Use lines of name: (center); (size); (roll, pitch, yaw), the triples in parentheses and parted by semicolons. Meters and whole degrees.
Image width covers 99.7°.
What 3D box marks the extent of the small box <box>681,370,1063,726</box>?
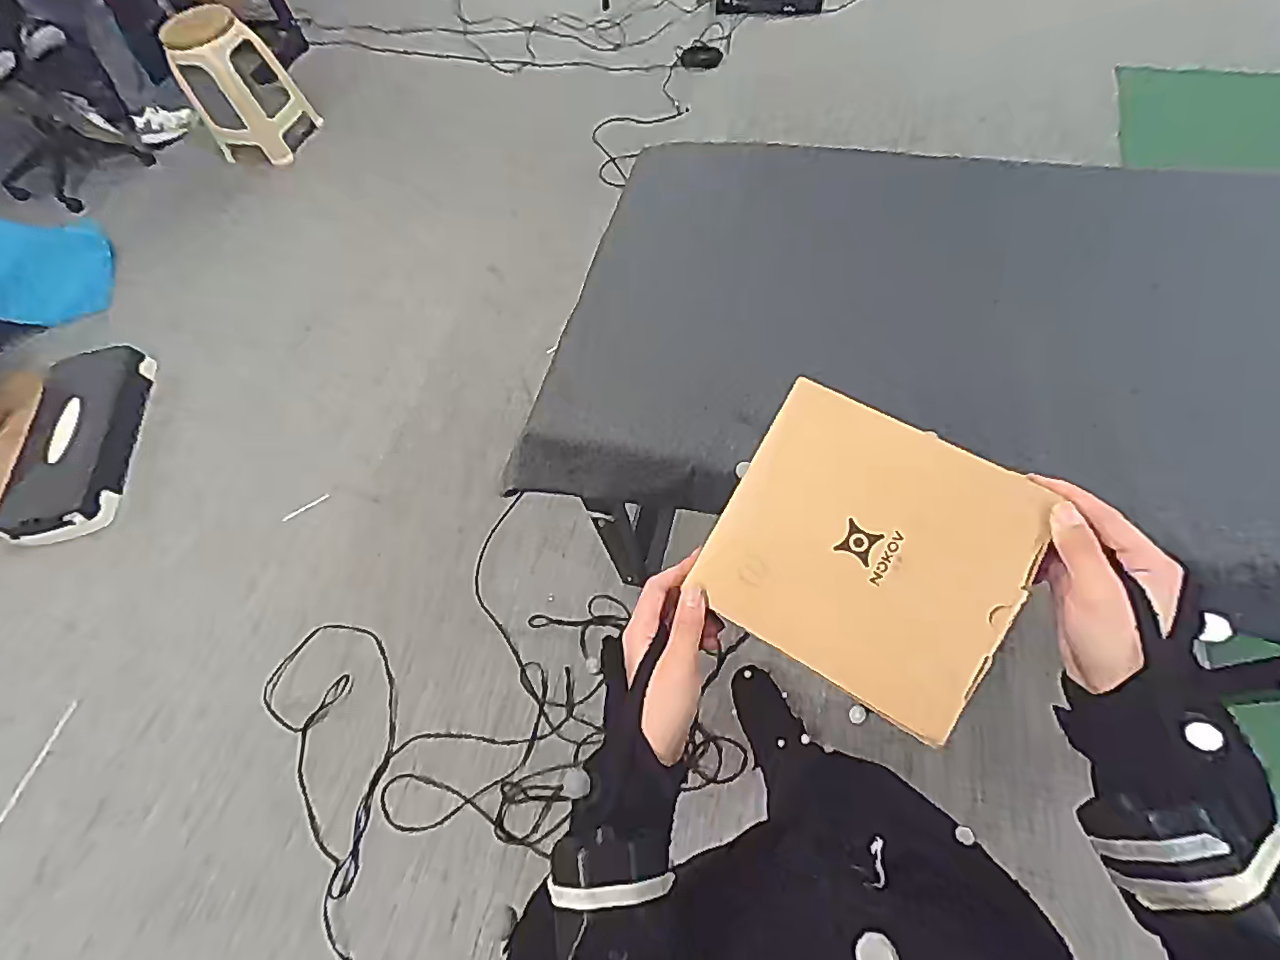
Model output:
small box: (0.152, 0.049, 0.412); (0.179, 0.176, 0.168); (29, 86, 14)
